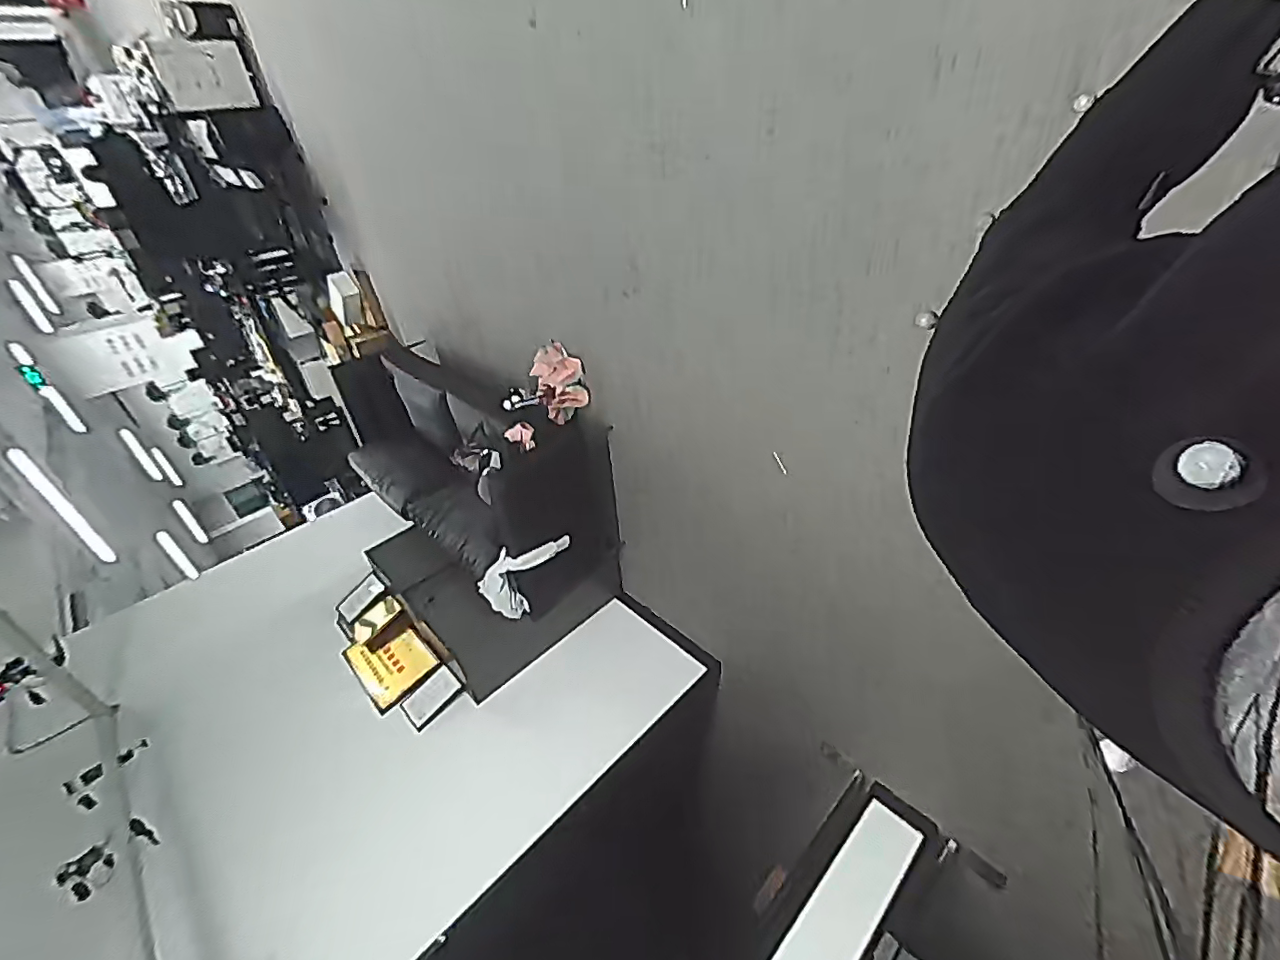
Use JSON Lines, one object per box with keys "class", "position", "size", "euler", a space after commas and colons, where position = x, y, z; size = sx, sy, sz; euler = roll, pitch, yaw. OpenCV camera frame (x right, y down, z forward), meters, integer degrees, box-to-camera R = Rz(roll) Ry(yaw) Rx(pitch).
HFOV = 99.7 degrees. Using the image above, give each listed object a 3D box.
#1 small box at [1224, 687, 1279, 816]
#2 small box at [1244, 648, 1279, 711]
{"class": "small box", "position": [1.249, 0.526, 1.002], "size": [0.179, 0.176, 0.168], "euler": [26, 135, 37]}
{"class": "small box", "position": [1.370, 0.441, 1.076], "size": [0.168, 0.176, 0.179], "euler": [29, 137, 34]}
